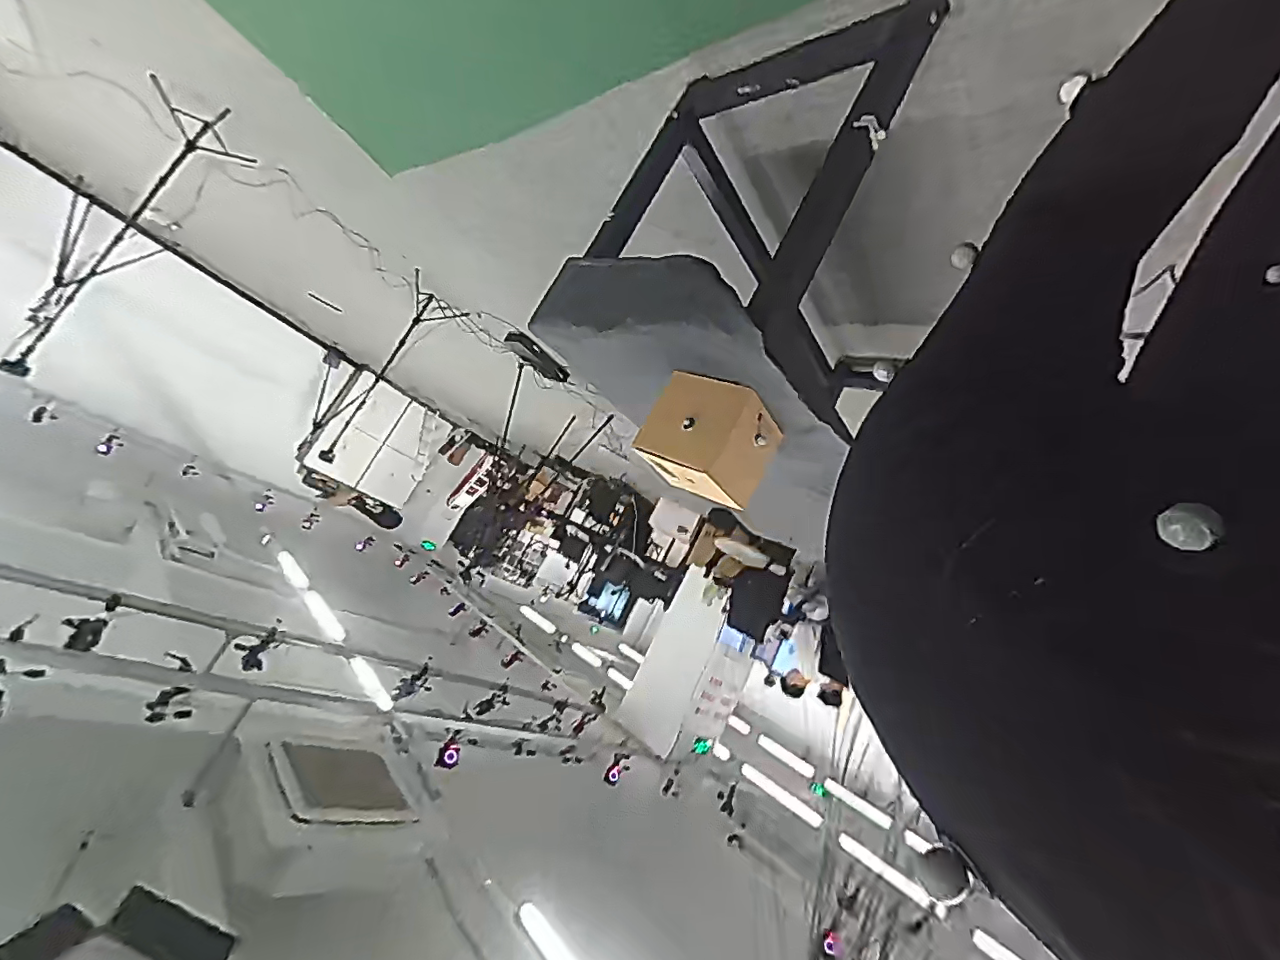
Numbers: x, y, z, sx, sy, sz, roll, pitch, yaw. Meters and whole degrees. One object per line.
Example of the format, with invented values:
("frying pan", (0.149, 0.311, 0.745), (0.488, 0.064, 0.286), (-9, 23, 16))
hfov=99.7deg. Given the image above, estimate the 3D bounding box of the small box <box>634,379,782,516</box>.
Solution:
("small box", (0.128, -0.064, 0.986), (0.179, 0.176, 0.168), (22, 169, 40))
